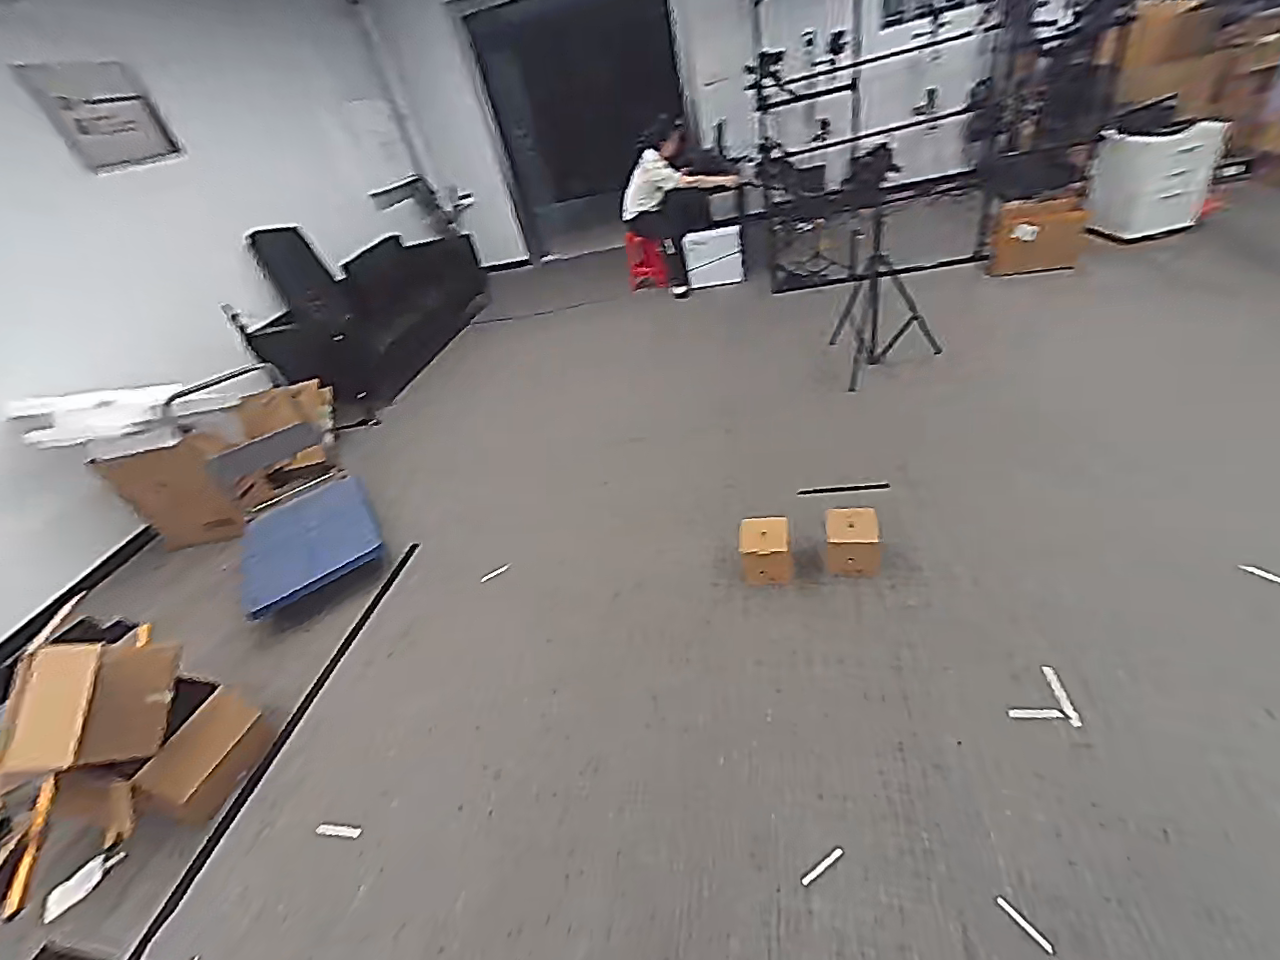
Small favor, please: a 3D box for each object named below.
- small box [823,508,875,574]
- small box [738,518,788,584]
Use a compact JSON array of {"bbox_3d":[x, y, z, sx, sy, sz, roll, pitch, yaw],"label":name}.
[{"bbox_3d":[0.746,0.221,1.935,0.168,0.176,0.179,-2,37,18],"label":"small box"},{"bbox_3d":[0.456,0.262,1.994,0.168,0.176,0.179,-4,37,16],"label":"small box"}]
